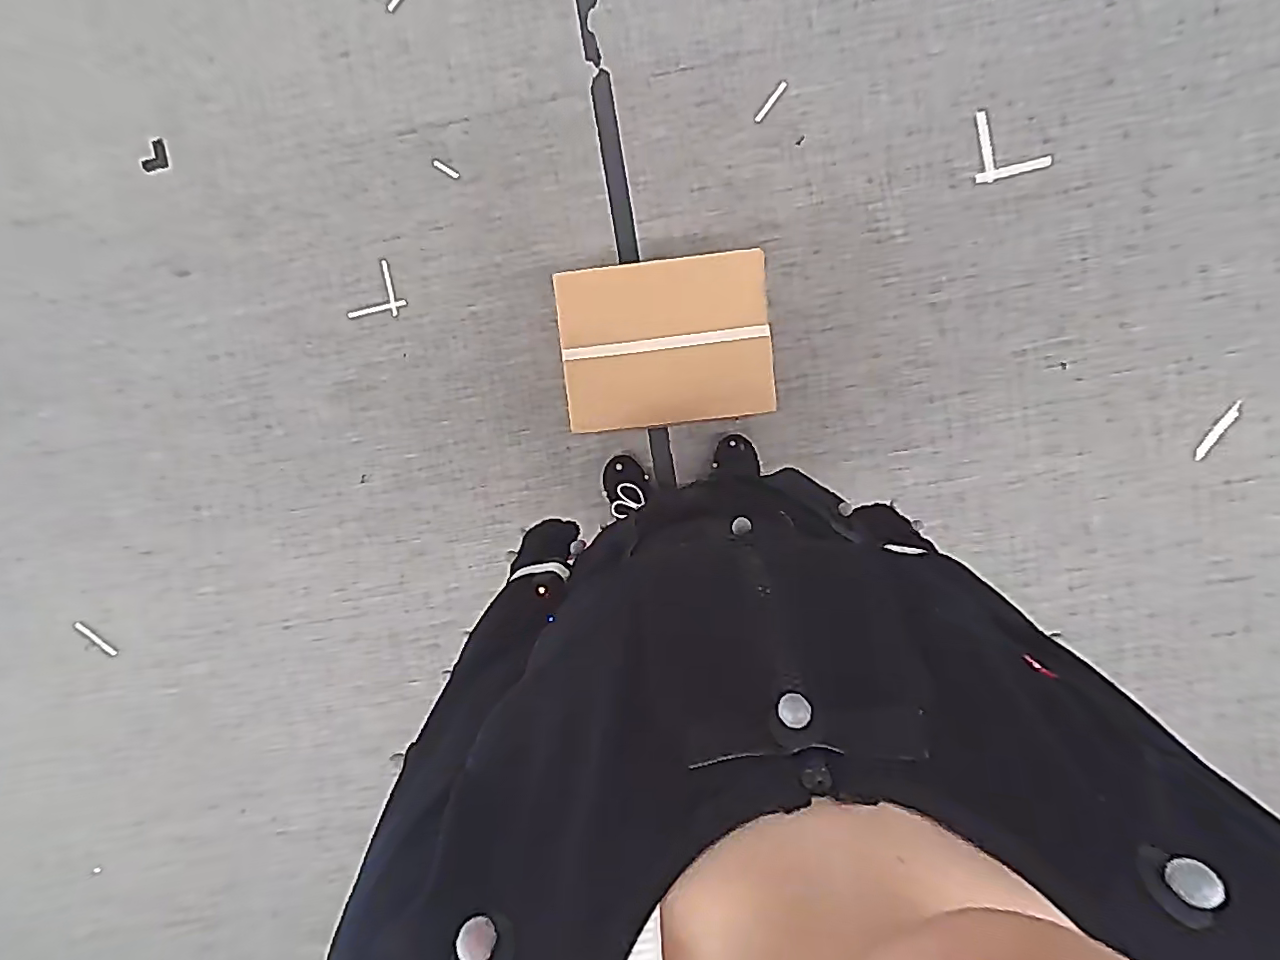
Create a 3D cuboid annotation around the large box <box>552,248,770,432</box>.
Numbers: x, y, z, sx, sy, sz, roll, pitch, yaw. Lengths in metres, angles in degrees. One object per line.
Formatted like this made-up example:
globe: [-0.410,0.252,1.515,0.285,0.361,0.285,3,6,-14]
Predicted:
large box: [0.049,-0.284,1.199,0.408,0.320,0.320,-6,94,3]
